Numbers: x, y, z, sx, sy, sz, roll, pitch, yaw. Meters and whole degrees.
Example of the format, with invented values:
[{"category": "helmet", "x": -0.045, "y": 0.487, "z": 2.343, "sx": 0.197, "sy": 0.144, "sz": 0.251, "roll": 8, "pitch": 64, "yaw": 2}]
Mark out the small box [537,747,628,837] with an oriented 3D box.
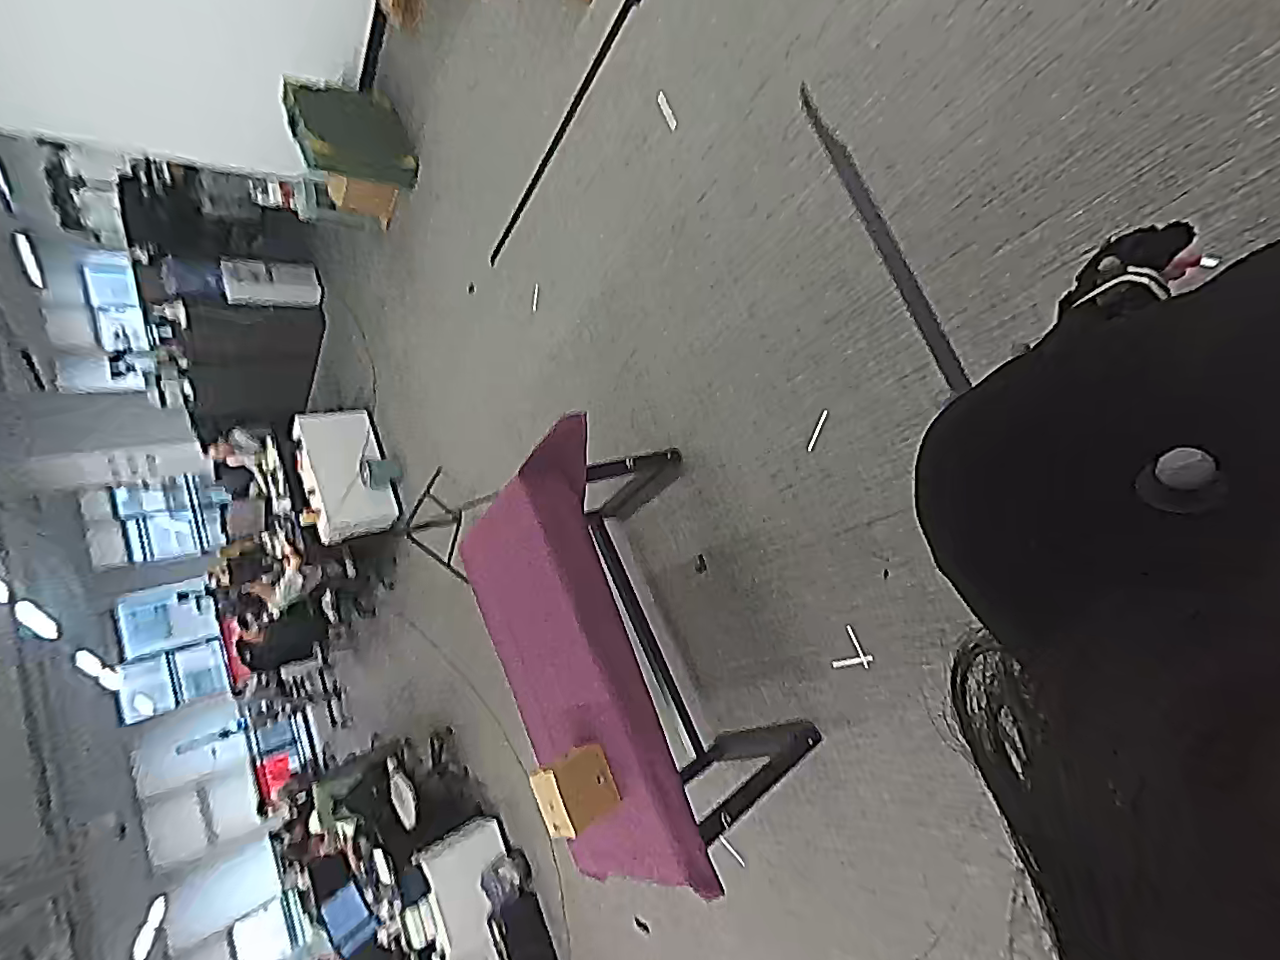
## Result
[{"category": "small box", "x": -0.166, "y": 0.889, "z": 1.555, "sx": 0.168, "sy": 0.176, "sz": 0.179, "roll": -39, "pitch": 69, "yaw": 46}]
